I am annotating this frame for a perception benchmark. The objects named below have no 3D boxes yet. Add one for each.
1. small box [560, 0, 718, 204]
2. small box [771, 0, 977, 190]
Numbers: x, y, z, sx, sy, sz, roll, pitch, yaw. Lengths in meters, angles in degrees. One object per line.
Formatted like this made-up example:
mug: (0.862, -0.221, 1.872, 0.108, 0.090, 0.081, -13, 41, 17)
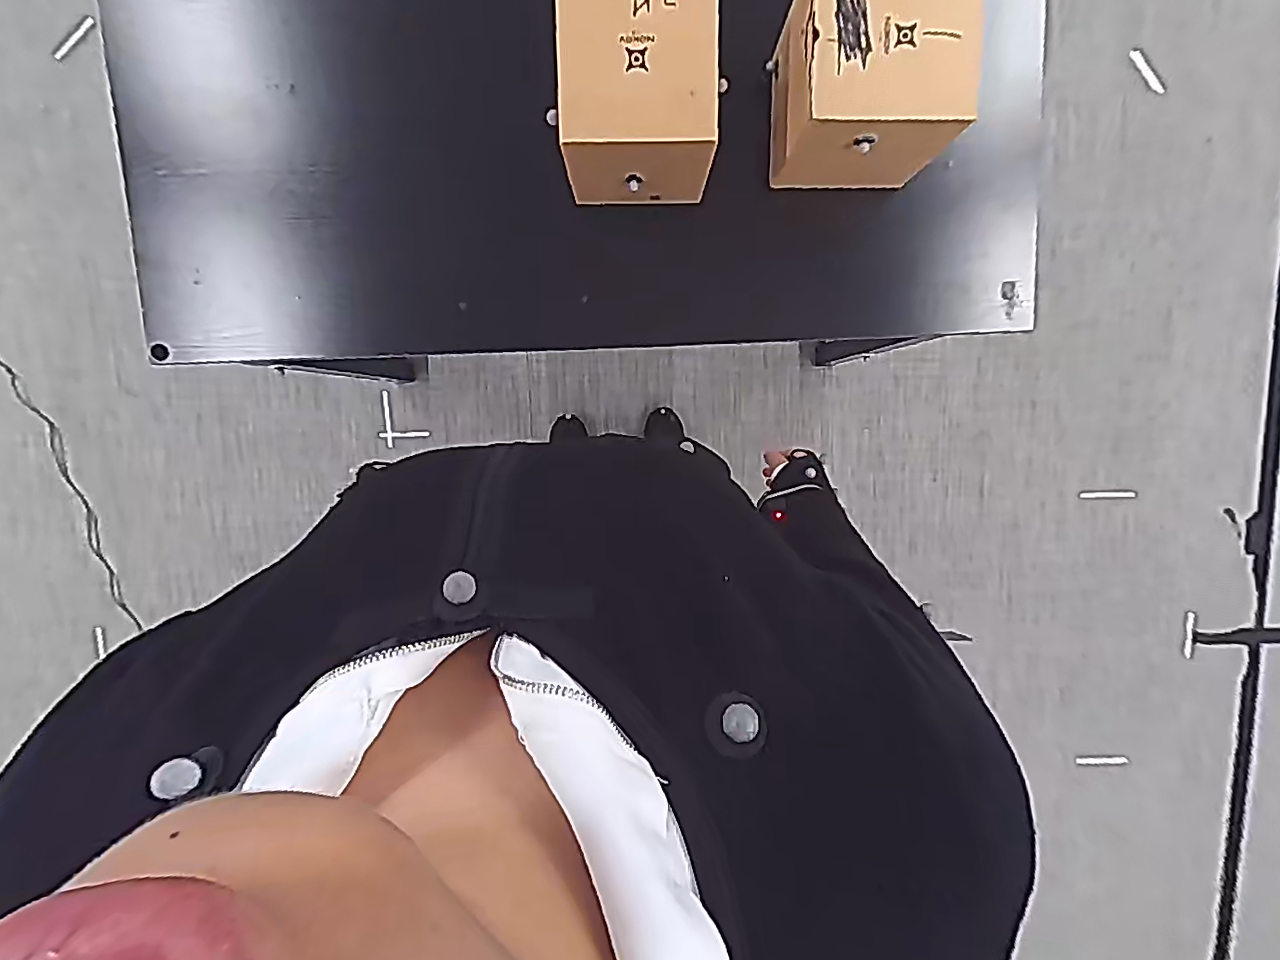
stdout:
small box: (-0.001, -0.445, 0.639, 0.168, 0.176, 0.179, 0, 96, -1)
small box: (0.260, -0.461, 0.638, 0.179, 0.176, 0.168, 0, 96, -1)
